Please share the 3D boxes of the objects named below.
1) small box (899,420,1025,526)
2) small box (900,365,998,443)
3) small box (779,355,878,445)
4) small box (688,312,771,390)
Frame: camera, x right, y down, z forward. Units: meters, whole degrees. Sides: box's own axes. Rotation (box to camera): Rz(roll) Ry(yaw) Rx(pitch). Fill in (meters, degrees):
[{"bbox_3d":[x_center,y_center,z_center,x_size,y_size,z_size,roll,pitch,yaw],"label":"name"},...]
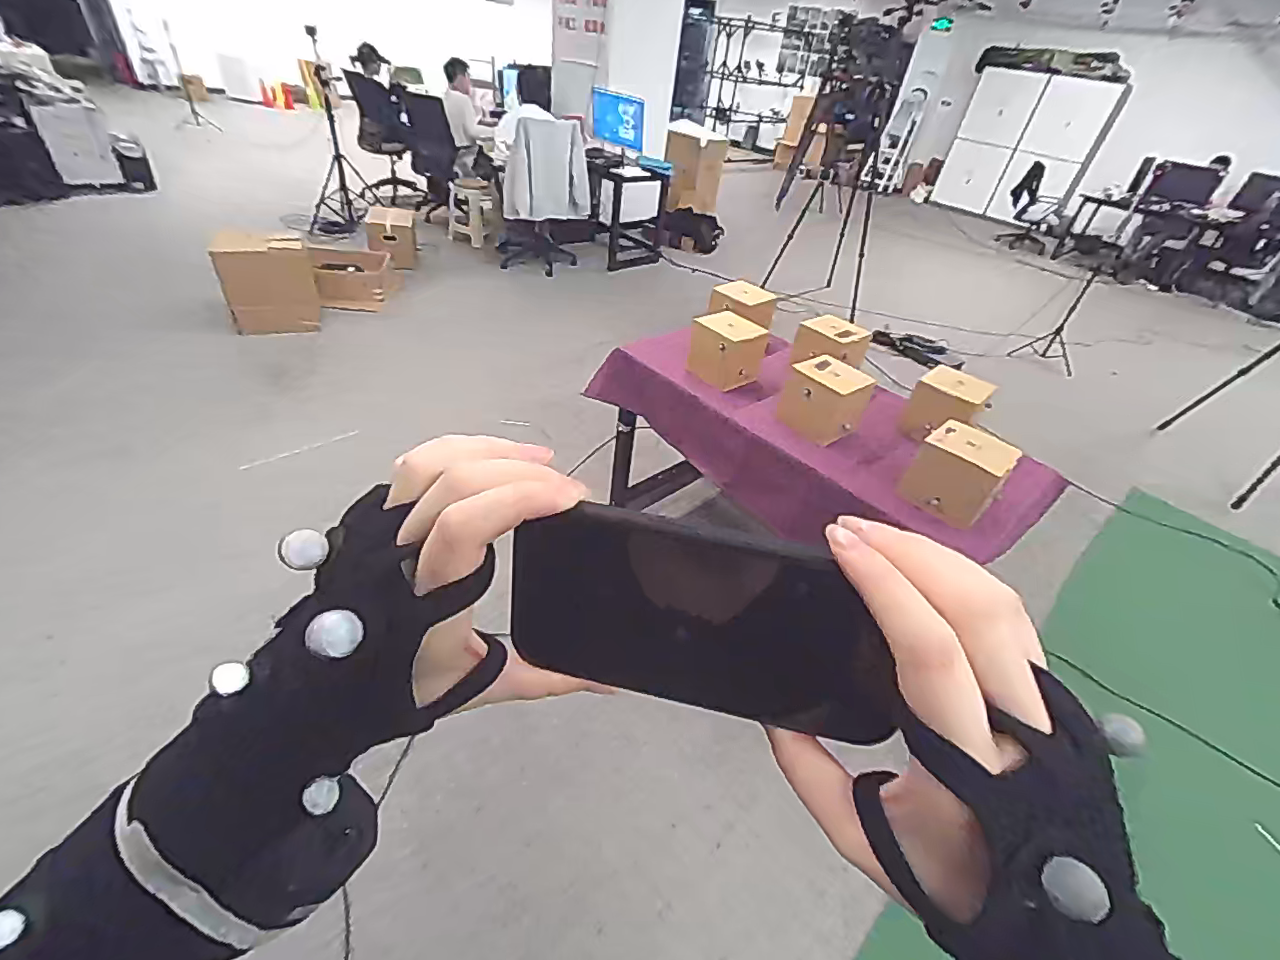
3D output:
[{"bbox_3d":[0.763,-0.012,1.293,0.168,0.176,0.179,-26,50,-36],"label":"small box"},{"bbox_3d":[0.881,-0.205,1.554,0.179,0.176,0.168,-28,51,-36],"label":"small box"},{"bbox_3d":[0.519,-0.224,1.512,0.168,0.176,0.179,-23,49,-33],"label":"small box"},{"bbox_3d":[0.273,-0.404,1.691,0.168,0.176,0.179,-24,50,-34],"label":"small box"}]
